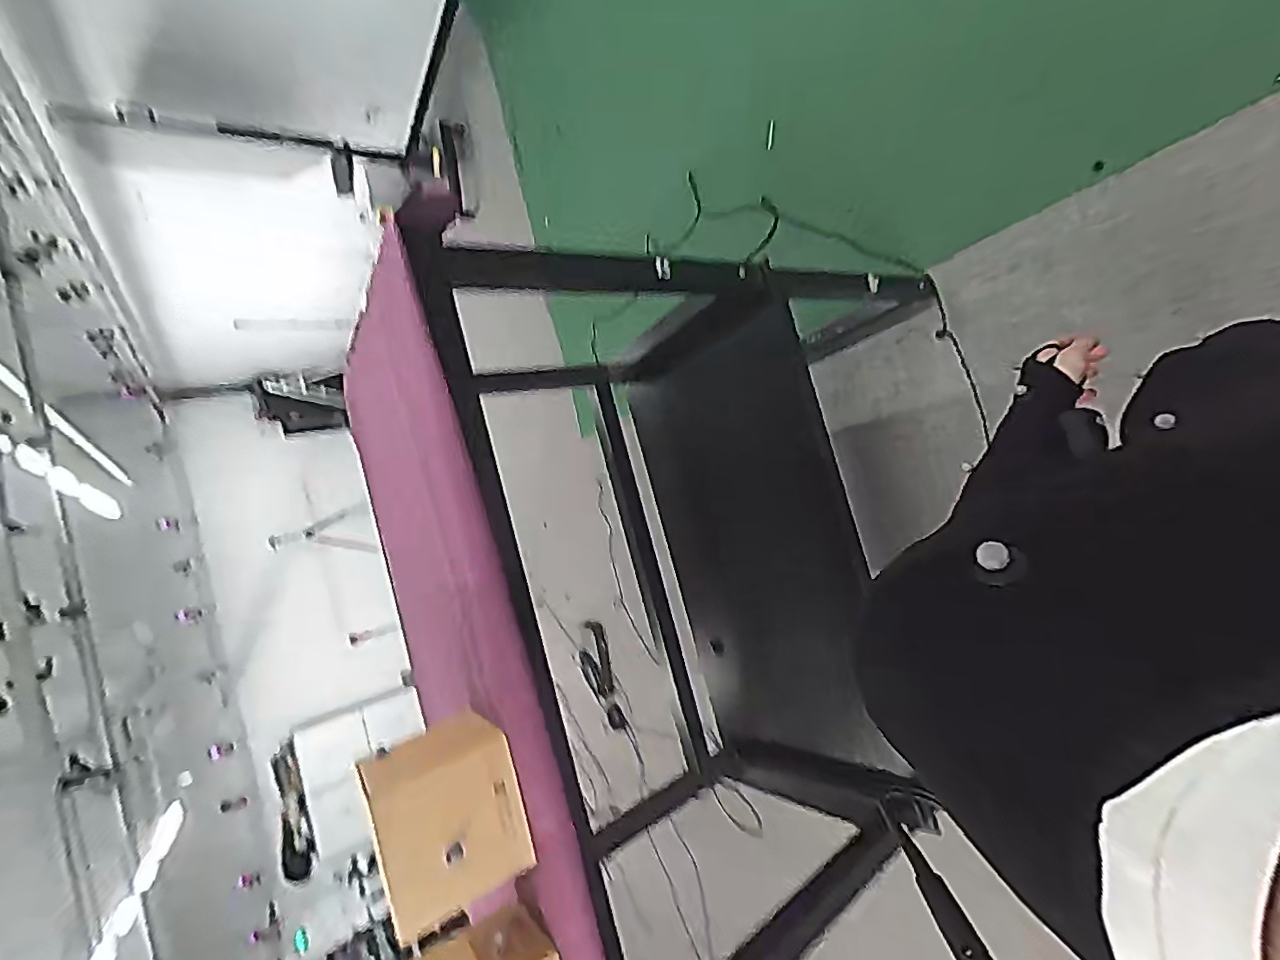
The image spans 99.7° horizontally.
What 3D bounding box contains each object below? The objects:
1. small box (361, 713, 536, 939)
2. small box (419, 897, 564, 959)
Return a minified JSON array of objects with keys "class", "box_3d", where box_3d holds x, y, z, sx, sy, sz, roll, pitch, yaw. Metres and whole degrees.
[{"class":"small box","box_3d":[-0.250,0.431,0.714,0.179,0.176,0.168,-20,84,57]},{"class":"small box","box_3d":[-0.181,0.705,0.697,0.168,0.176,0.179,-21,83,56]}]
